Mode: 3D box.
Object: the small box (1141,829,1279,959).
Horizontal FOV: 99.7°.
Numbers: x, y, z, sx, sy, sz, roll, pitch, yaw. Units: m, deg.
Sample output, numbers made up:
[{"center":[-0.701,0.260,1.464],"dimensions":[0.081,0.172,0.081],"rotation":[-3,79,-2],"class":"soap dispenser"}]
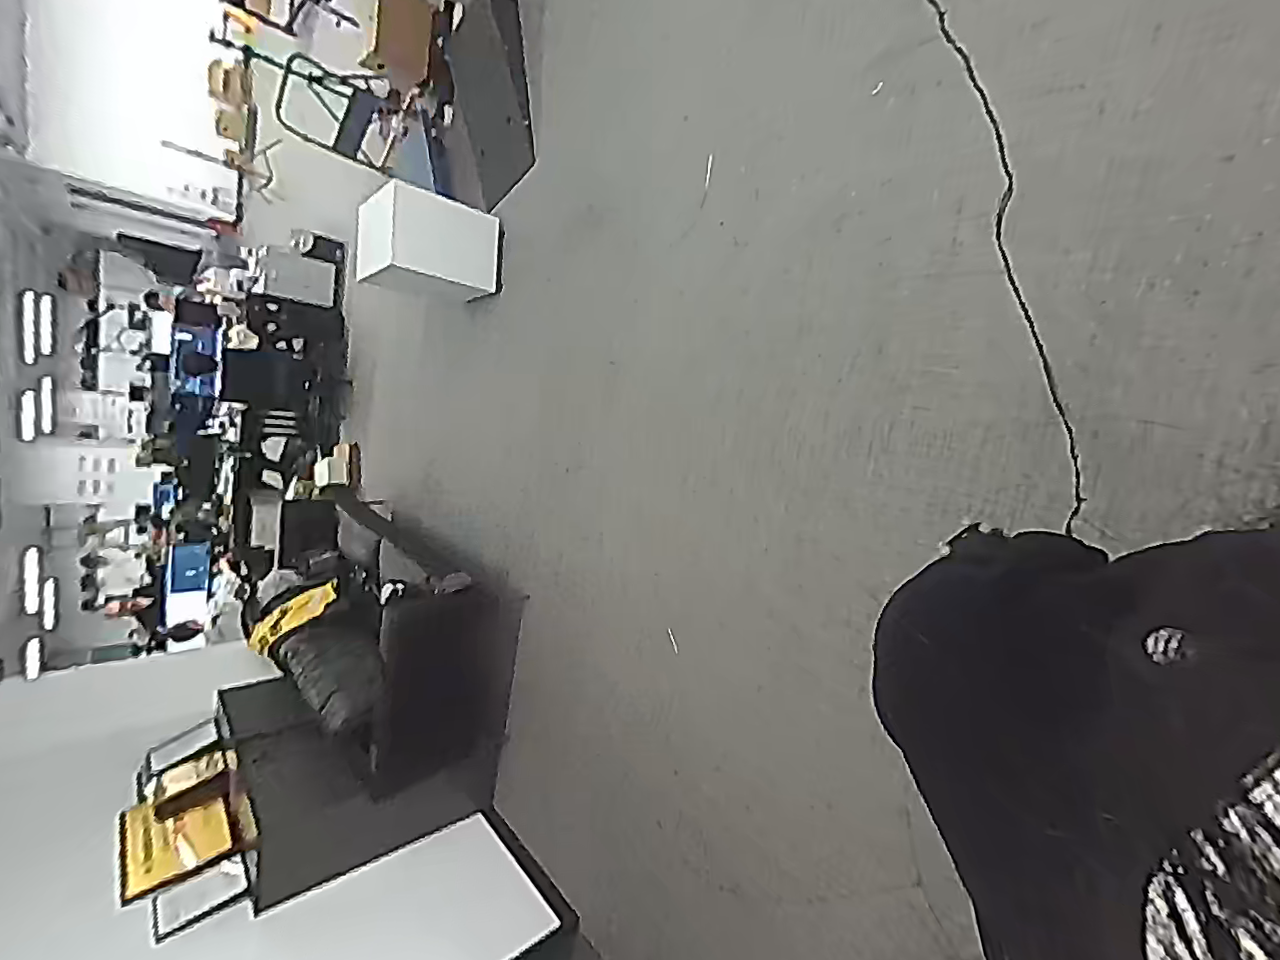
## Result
[{"center":[1.073,0.808,1.006],"dimensions":[0.168,0.176,0.179],"rotation":[19,104,44],"class":"small box"}]
